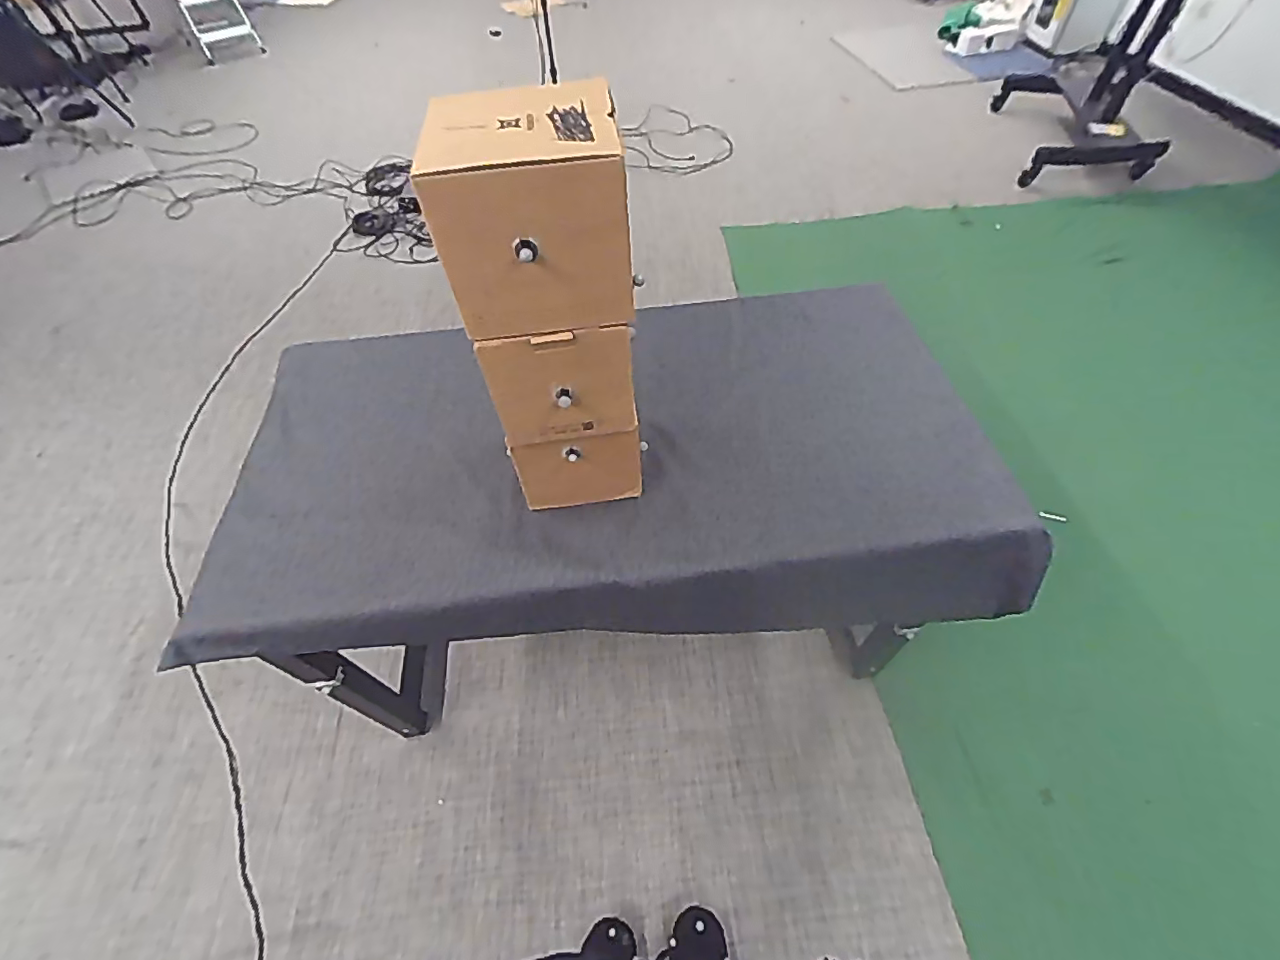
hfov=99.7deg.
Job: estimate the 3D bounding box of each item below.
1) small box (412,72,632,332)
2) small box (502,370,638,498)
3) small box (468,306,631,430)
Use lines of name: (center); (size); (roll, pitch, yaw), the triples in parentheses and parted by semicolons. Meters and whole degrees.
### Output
small box: (-0.104, -0.270, 0.537); (0.179, 0.176, 0.168); (-8, 55, -5)
small box: (-0.099, -0.086, 0.809); (0.179, 0.176, 0.168); (-7, 55, -4)
small box: (-0.104, -0.177, 0.673); (0.168, 0.176, 0.179); (-8, 55, -3)
